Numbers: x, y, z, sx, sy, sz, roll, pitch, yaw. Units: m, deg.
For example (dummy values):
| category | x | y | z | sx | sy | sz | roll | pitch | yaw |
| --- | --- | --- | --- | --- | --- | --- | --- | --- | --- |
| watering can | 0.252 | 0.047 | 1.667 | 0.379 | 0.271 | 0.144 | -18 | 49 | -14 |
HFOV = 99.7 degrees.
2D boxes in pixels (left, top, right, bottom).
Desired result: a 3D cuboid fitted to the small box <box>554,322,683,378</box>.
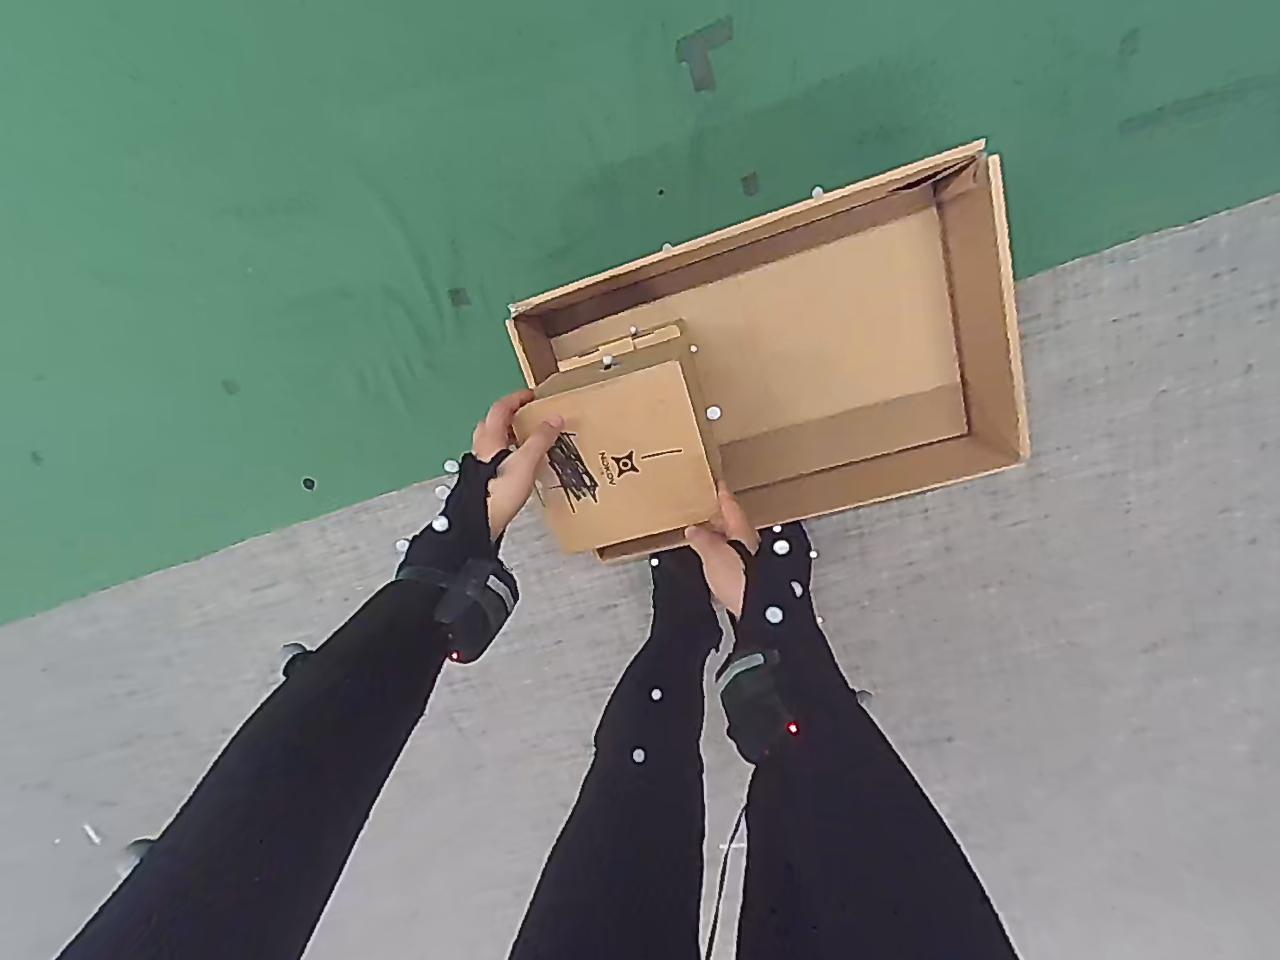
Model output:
| category | x | y | z | sx | sy | sz | roll | pitch | yaw |
| --- | --- | --- | --- | --- | --- | --- | --- | --- | --- |
| small box | -0.002 | -0.117 | 0.786 | 0.168 | 0.176 | 0.179 | -16 | 107 | 11 |

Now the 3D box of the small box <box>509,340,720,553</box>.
| category | x | y | z | sx | sy | sz | roll | pitch | yaw |
| --- | --- | --- | --- | --- | --- | --- | --- | --- | --- |
| small box | -0.015 | -0.044 | 0.604 | 0.179 | 0.176 | 0.168 | -15 | 111 | 12 |
